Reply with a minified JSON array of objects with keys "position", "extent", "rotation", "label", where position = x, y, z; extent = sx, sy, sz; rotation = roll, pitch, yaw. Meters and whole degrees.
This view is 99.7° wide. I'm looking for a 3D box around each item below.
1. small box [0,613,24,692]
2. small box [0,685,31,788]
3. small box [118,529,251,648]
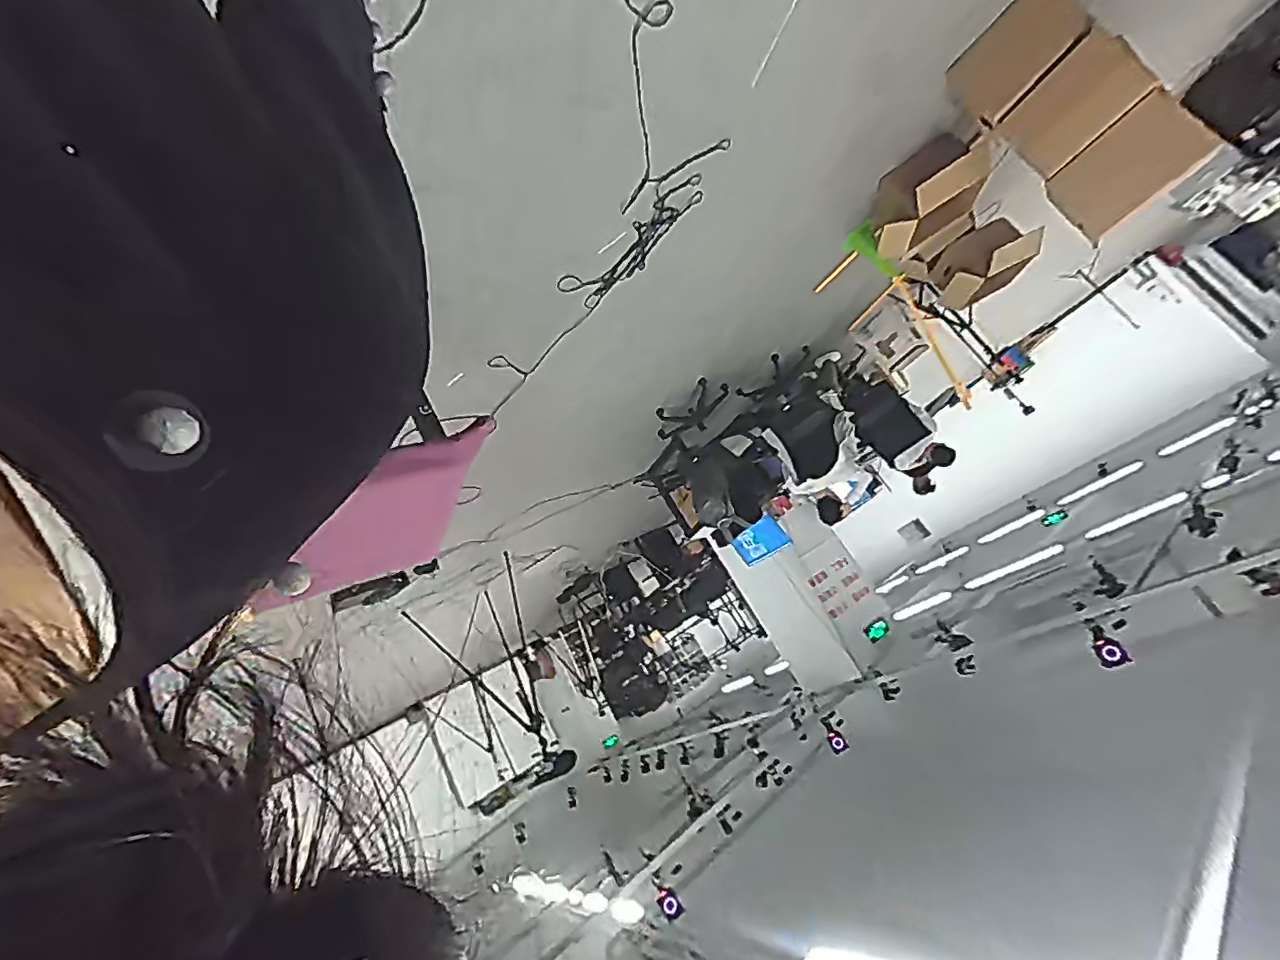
[{"position":[-1.226,0.306,0.922],"extent":[0.179,0.176,0.168],"rotation":[-20,159,-35],"label":"small box"},{"position":[-1.135,0.430,0.863],"extent":[0.168,0.176,0.179],"rotation":[-20,160,-38],"label":"small box"},{"position":[-0.967,0.227,1.158],"extent":[0.179,0.176,0.168],"rotation":[-18,160,-38],"label":"small box"}]
